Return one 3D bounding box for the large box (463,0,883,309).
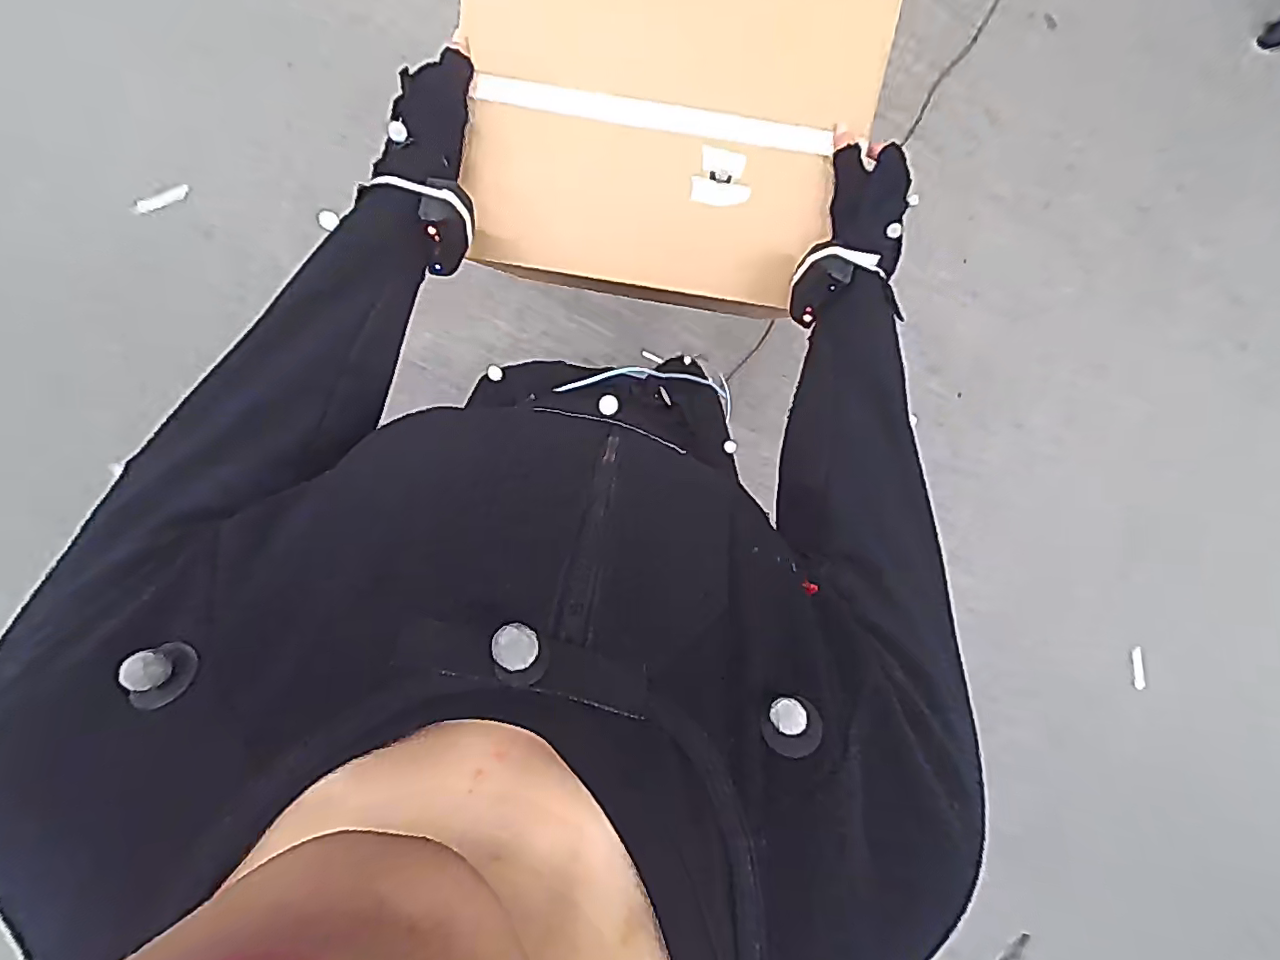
[{"bbox_3d":[0.020,-0.405,0.693,0.408,0.320,0.320,8,107,-2],"label":"large box"}]
